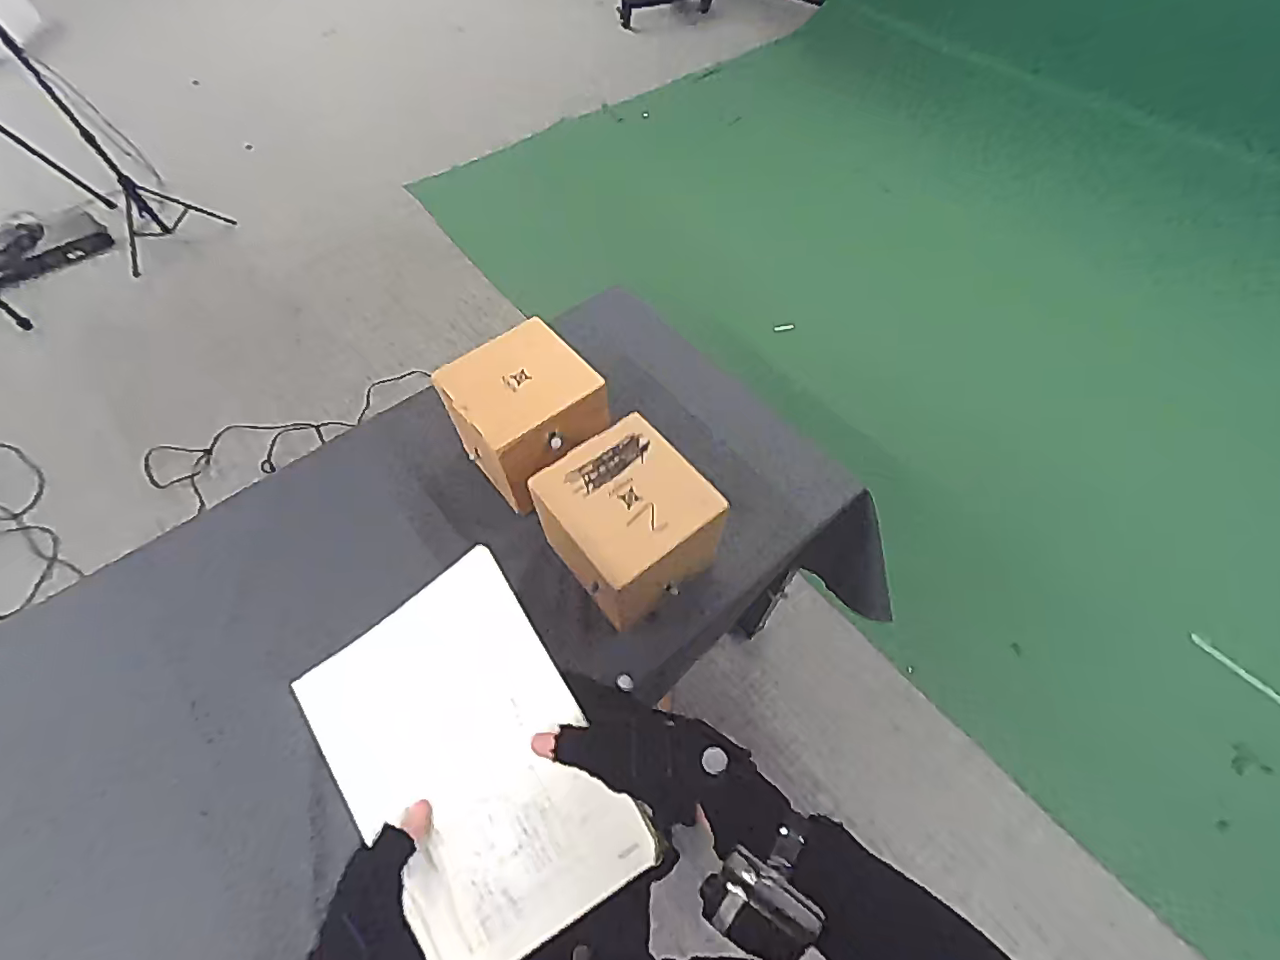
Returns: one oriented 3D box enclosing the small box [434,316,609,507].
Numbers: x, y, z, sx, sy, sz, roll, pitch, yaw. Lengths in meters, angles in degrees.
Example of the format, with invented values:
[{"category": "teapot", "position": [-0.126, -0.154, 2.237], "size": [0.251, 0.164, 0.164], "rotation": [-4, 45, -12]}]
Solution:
[{"category": "small box", "position": [-0.160, -0.095, 0.785], "size": [0.179, 0.176, 0.168], "rotation": [-36, 65, -18]}]
